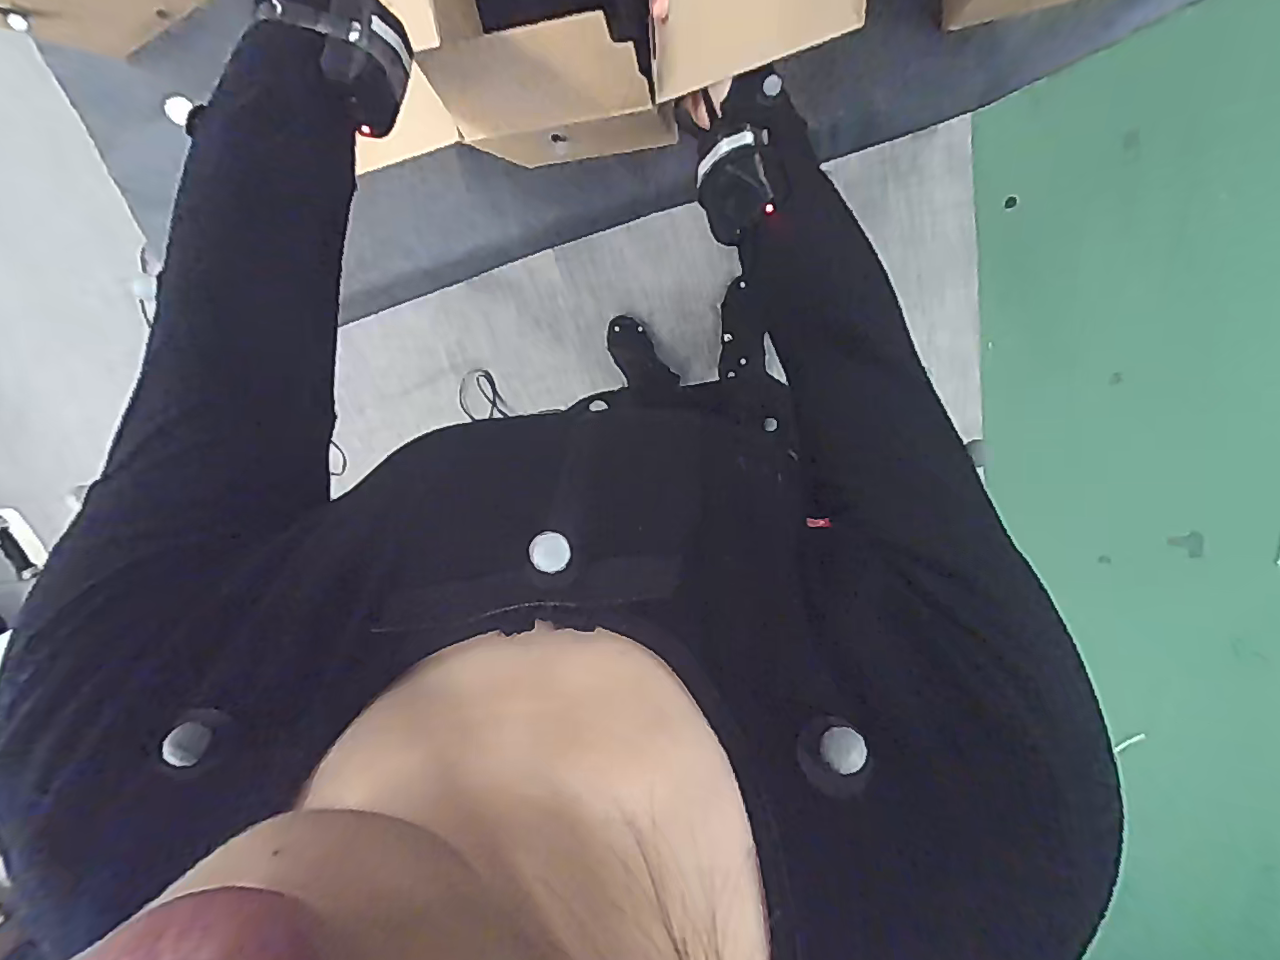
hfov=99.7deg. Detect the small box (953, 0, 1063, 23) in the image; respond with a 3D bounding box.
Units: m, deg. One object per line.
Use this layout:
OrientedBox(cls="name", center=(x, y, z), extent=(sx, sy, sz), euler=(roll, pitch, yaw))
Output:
OrientedBox(cls="small box", center=(0.339, -0.467, 0.379), extent=(0.179, 0.176, 0.168), euler=(-5, 111, 14))
